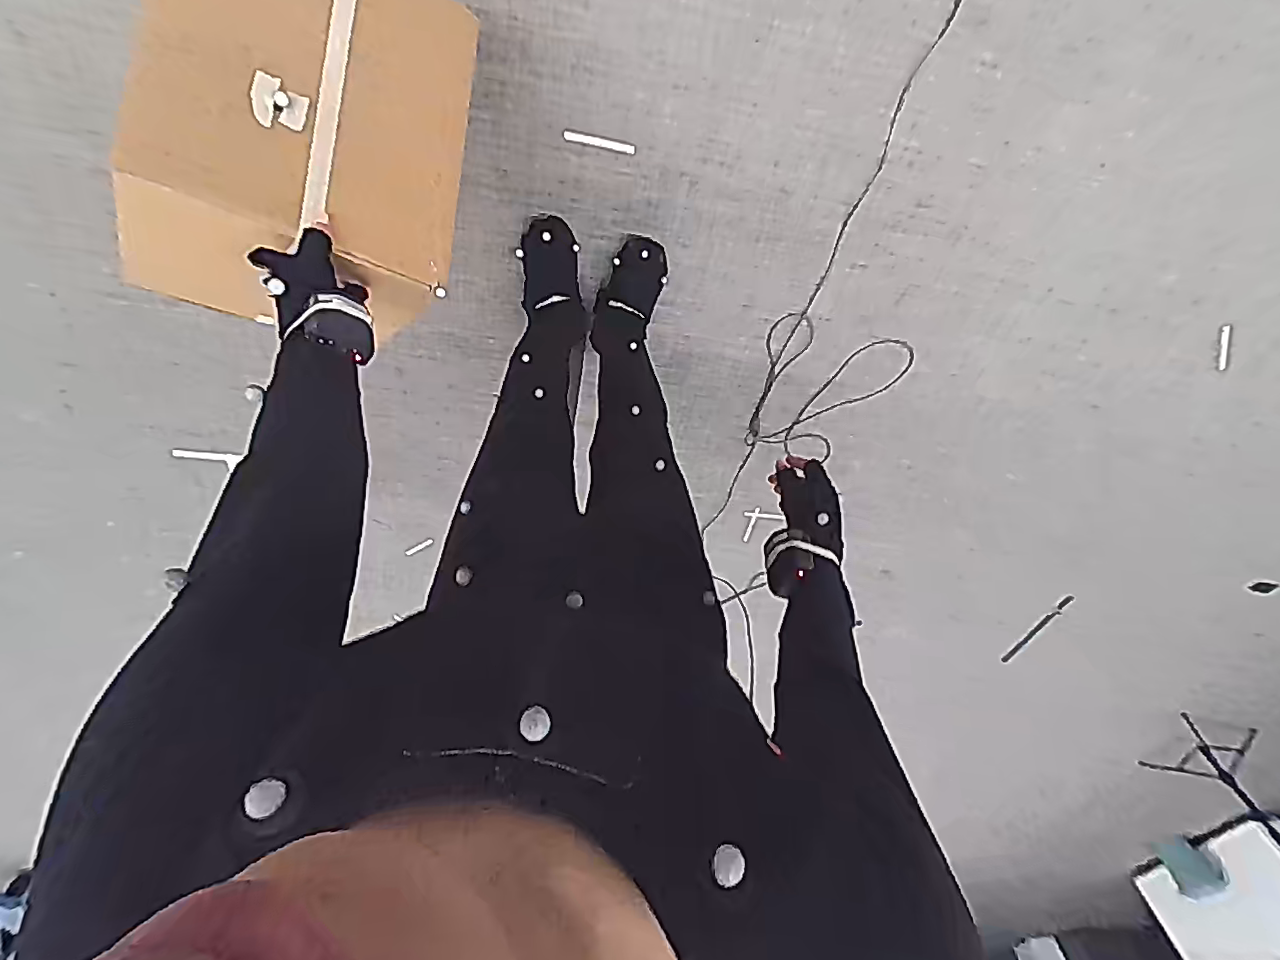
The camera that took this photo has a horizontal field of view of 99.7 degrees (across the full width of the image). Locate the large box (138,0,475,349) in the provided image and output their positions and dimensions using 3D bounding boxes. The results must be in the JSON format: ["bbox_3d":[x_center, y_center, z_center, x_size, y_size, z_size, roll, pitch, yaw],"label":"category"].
[{"bbox_3d":[-0.459,-0.447,0.754,0.320,0.408,0.320,11,170,-41],"label":"large box"}]
